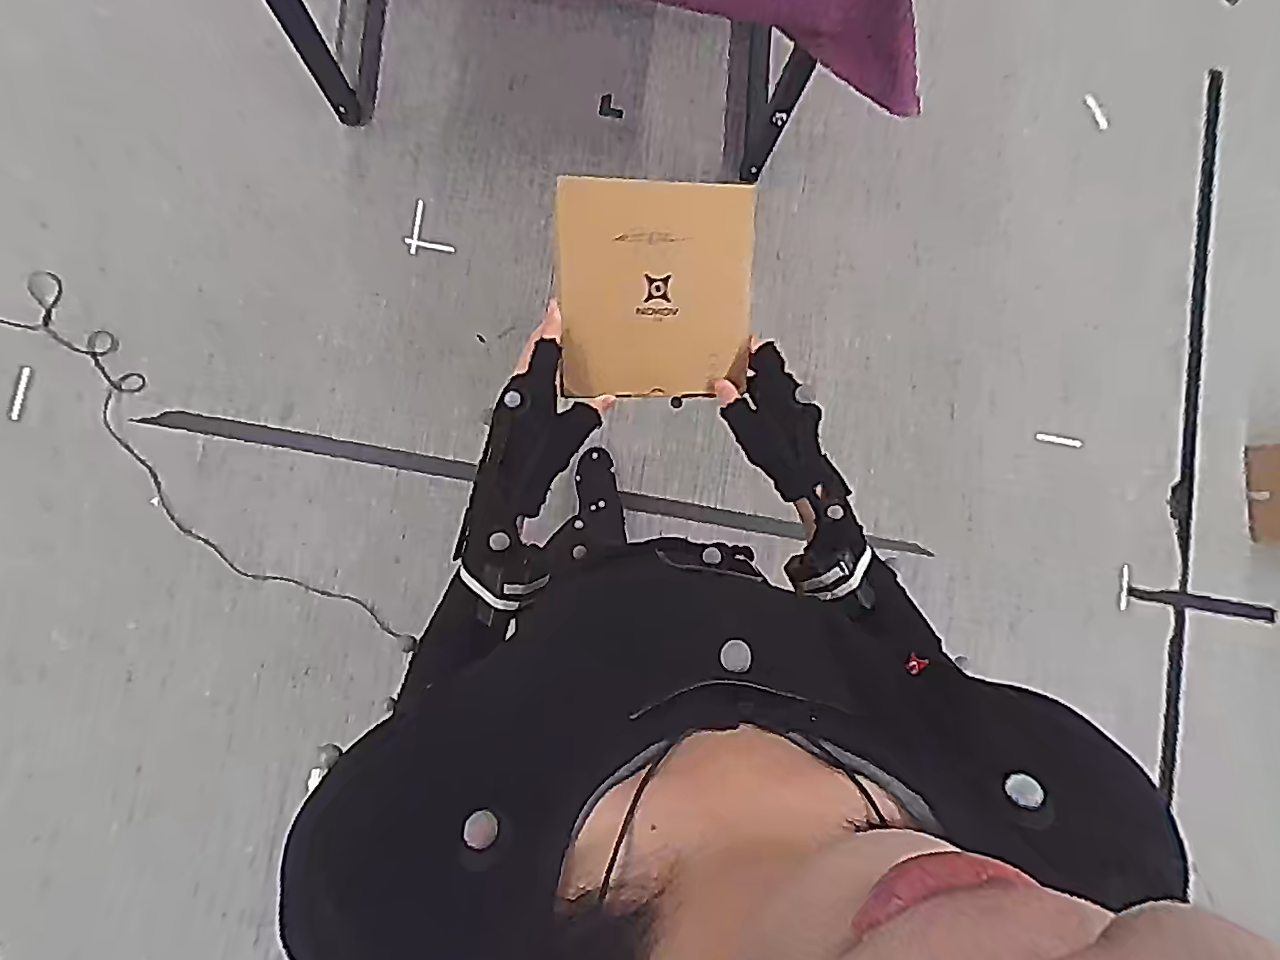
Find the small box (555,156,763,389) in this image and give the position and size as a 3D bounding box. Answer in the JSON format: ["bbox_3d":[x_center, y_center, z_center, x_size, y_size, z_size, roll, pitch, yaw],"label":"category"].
[{"bbox_3d":[0.005,-0.181,0.519,0.168,0.176,0.179,-2,102,-10],"label":"small box"}]
